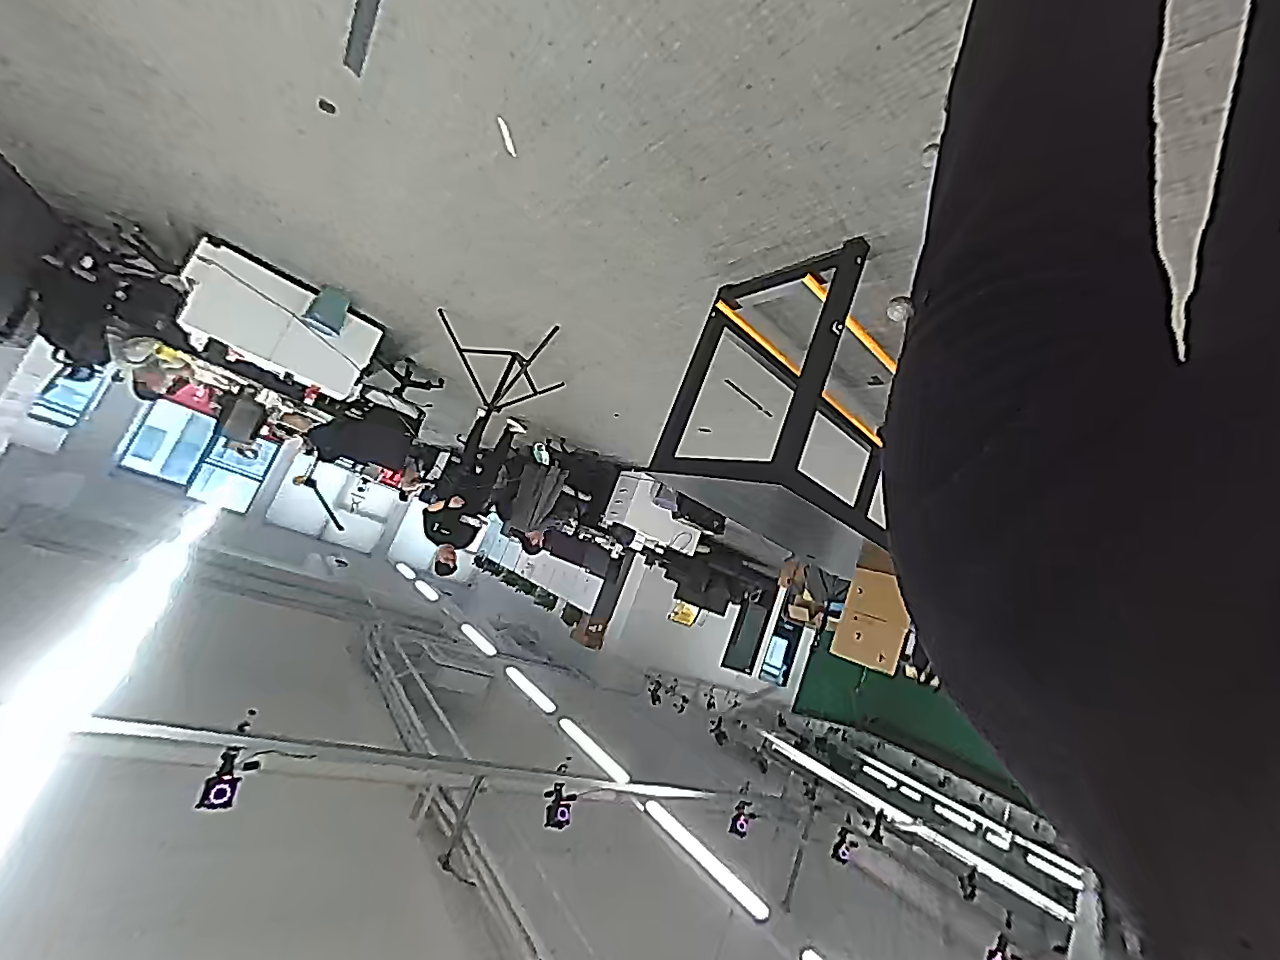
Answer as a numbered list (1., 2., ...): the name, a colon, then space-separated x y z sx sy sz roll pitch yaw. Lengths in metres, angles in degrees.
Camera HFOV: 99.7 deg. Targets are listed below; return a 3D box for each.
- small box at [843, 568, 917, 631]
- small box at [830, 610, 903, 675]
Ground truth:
1. small box: 0.887 0.433 1.990 0.168 0.176 0.179 27 168 -36
2. small box: 0.828 0.585 1.971 0.179 0.176 0.168 28 169 -36
